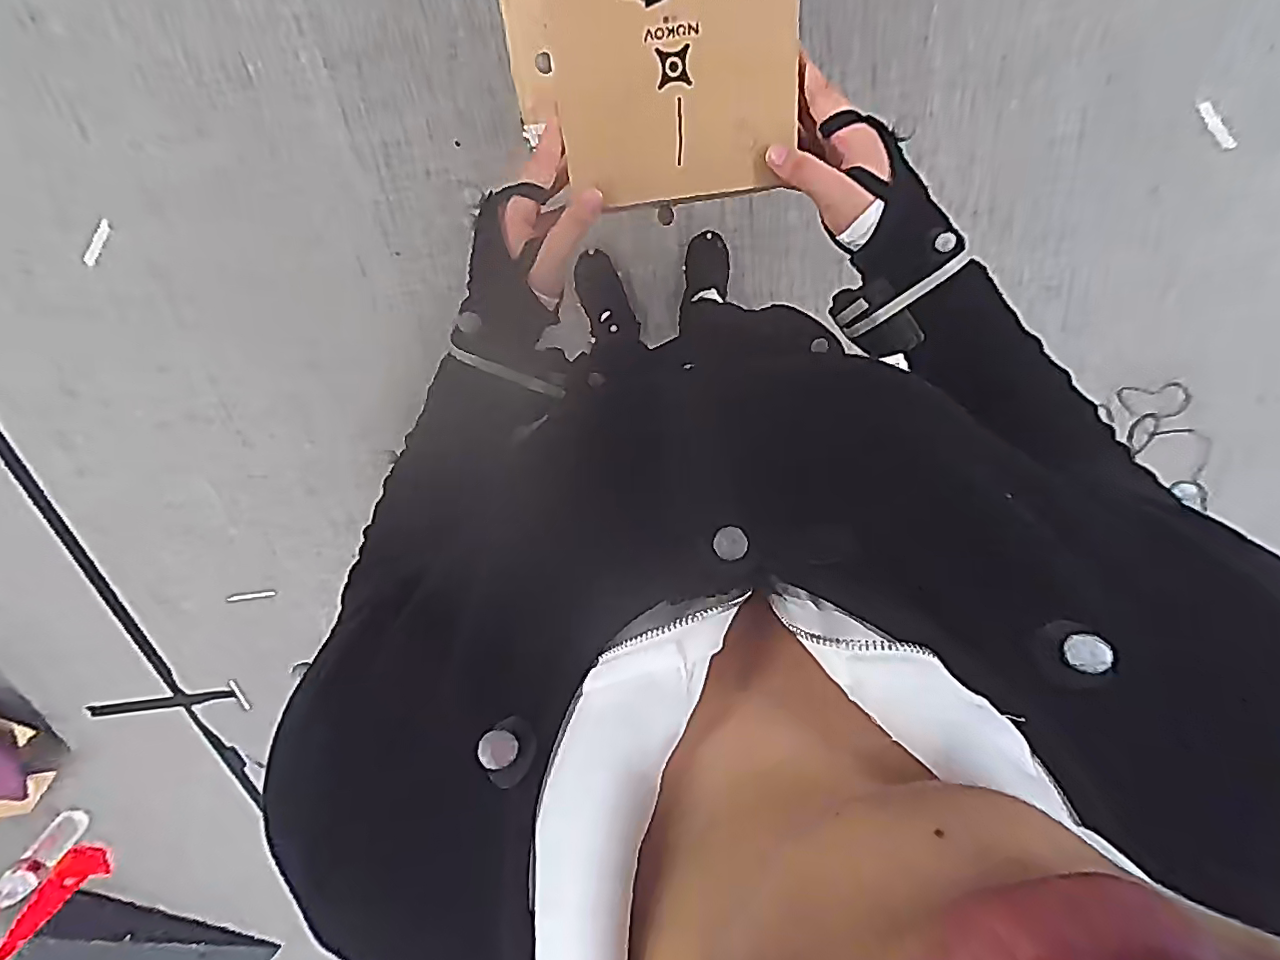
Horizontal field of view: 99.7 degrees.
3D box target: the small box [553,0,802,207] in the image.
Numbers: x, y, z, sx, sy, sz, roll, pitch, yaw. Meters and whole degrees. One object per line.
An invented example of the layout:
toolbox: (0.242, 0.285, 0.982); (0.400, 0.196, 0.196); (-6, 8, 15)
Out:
small box: (0.023, -0.325, 0.432); (0.168, 0.176, 0.179); (-7, 117, 1)
